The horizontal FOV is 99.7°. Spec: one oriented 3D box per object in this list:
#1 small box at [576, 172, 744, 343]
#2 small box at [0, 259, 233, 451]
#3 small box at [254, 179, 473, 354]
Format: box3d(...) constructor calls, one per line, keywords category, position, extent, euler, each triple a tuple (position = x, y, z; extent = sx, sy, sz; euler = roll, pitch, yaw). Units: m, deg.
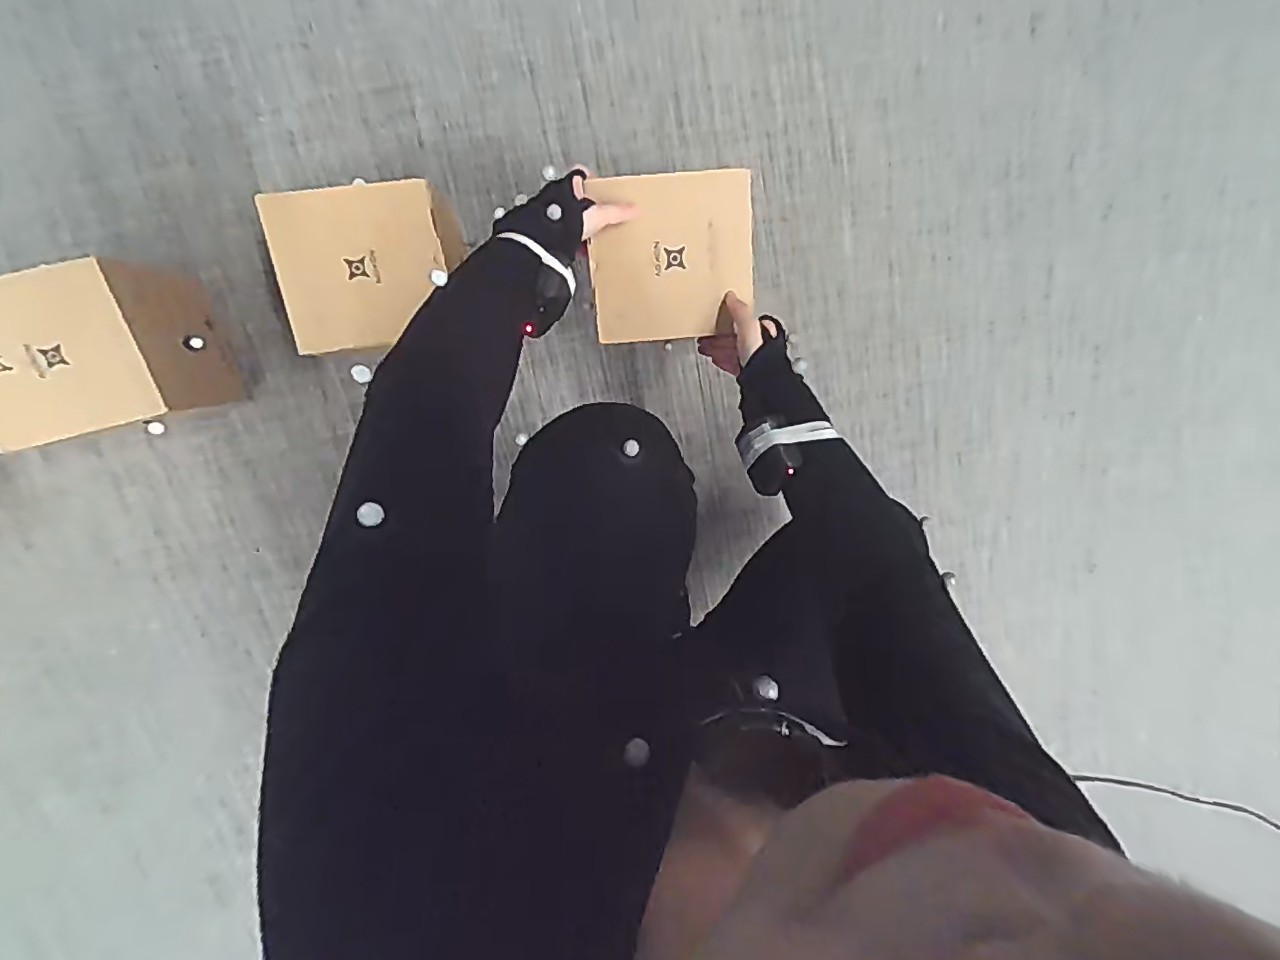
box3d(category="small box", position=(0.022, -0.254, 0.654), extent=(0.179, 0.176, 0.168), euler=(-4, 105, -2))
box3d(category="small box", position=(-0.627, -0.146, 0.636), extent=(0.179, 0.176, 0.168), euler=(-16, 104, -6))
box3d(category="small box", position=(-0.319, -0.248, 0.665), extent=(0.179, 0.176, 0.168), euler=(-10, 104, -8))
